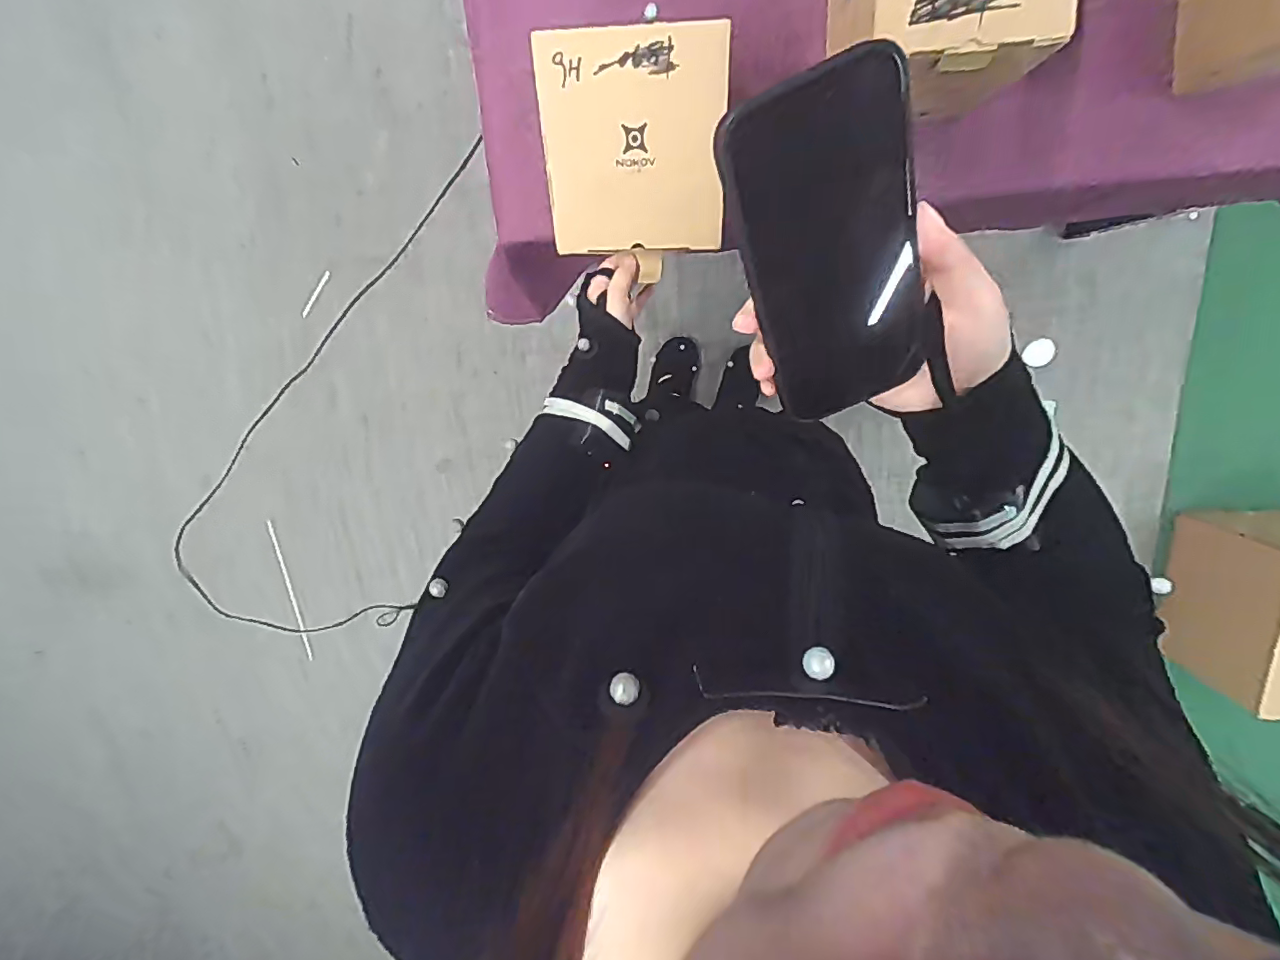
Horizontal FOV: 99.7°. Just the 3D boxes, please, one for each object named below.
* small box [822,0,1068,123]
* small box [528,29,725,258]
[{"bbox_3d":[0.281,-0.472,0.523,0.168,0.176,0.179,-2,104,5],"label":"small box"},{"bbox_3d":[-0.005,-0.341,0.553,0.168,0.176,0.179,0,126,4],"label":"small box"}]
